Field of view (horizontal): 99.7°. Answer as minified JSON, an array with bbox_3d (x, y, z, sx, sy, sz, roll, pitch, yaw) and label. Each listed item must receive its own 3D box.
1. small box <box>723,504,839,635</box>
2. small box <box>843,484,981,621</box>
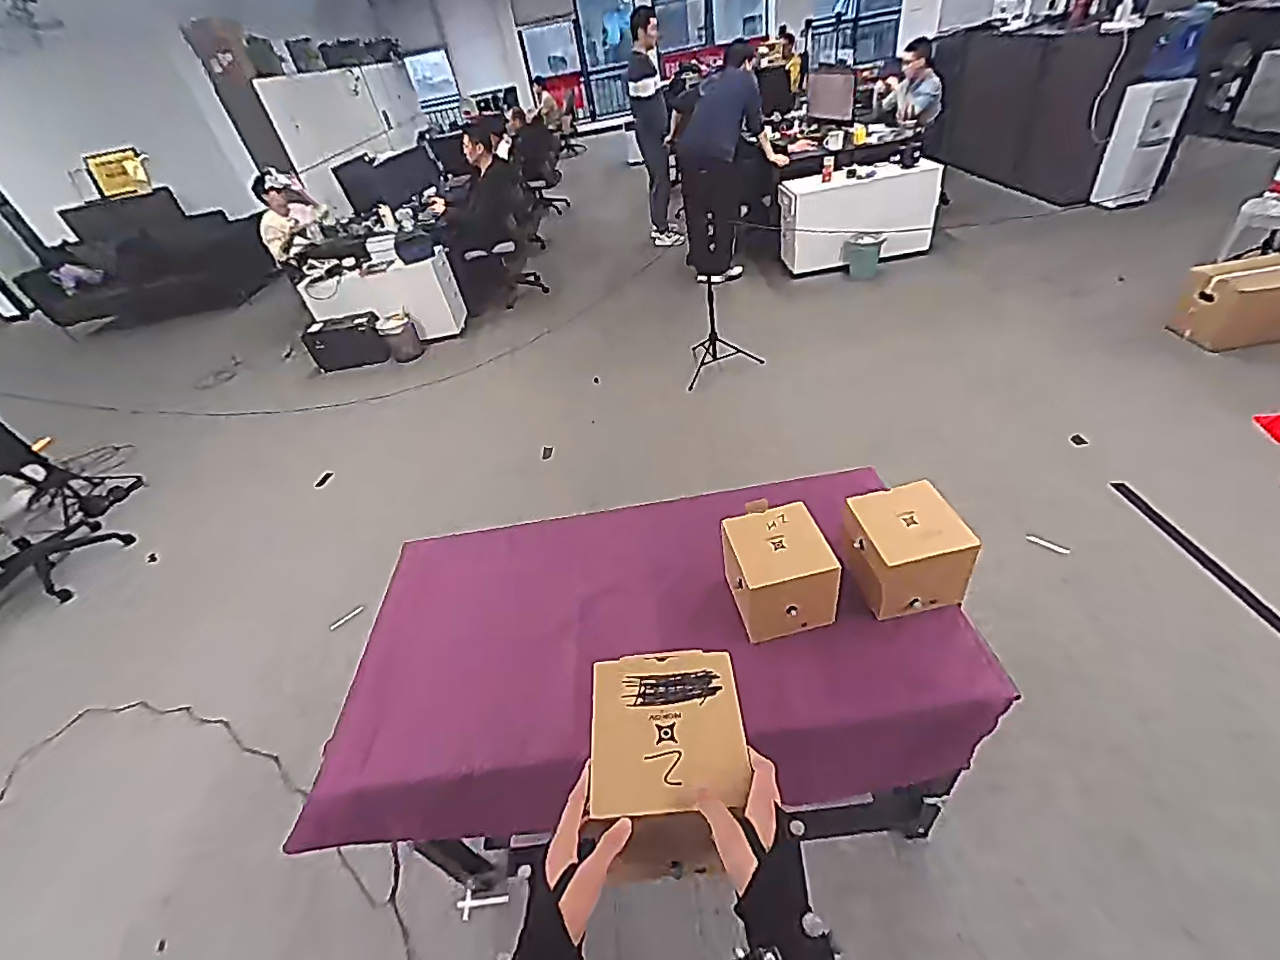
[{"bbox_3d":[0.265,0.178,1.038,0.168,0.176,0.179,-13,39,-1],"label":"small box"},{"bbox_3d":[0.500,0.138,1.028,0.168,0.176,0.179,-13,39,1],"label":"small box"}]
